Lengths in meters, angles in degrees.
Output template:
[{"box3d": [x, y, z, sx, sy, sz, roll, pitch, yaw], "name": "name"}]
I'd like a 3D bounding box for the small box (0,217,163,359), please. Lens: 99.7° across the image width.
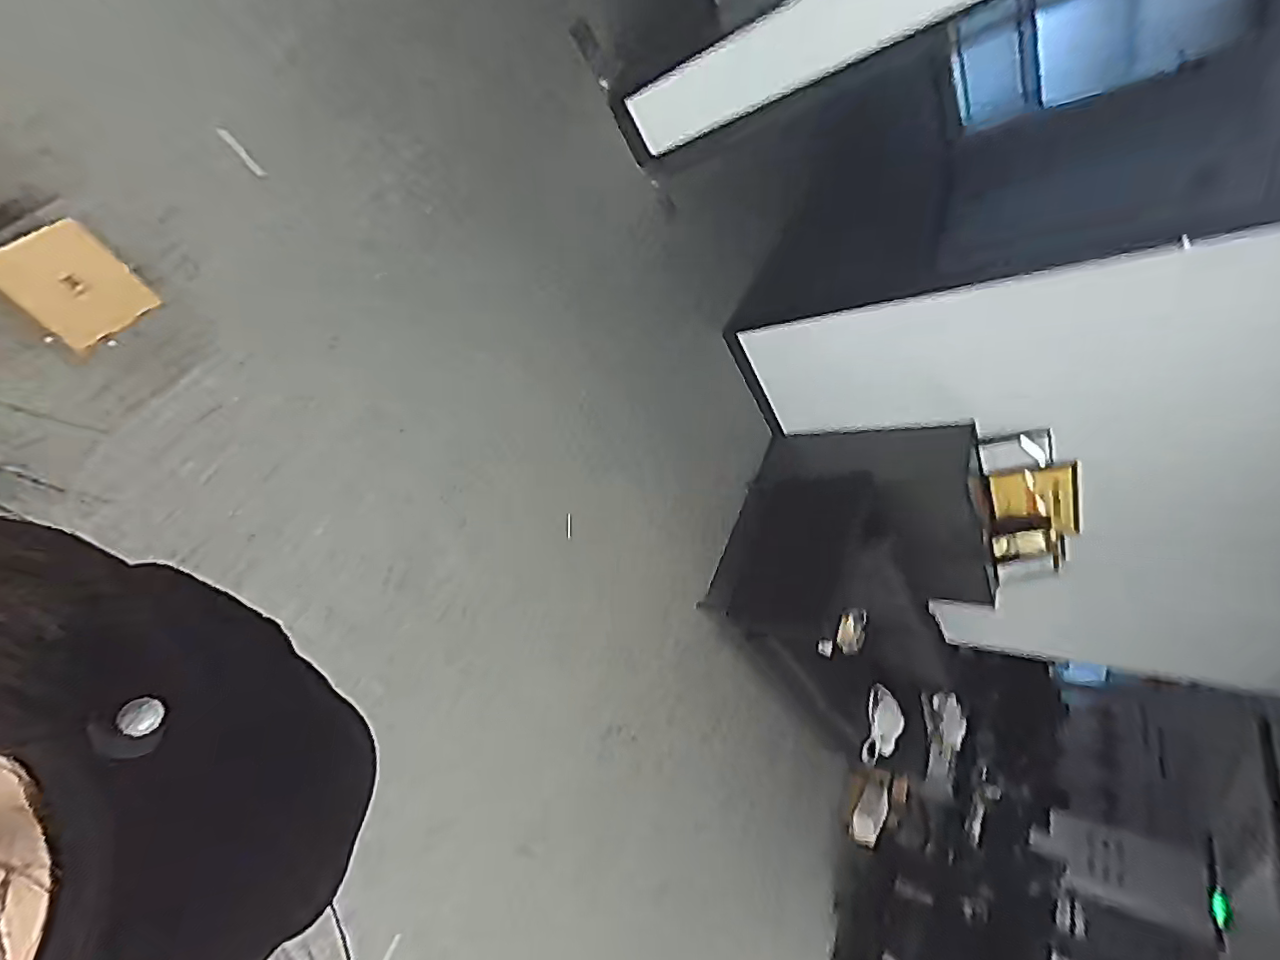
[{"box3d": [-1.057, -0.347, 1.003, 0.179, 0.176, 0.168, 57, 49, -34], "name": "small box"}]
